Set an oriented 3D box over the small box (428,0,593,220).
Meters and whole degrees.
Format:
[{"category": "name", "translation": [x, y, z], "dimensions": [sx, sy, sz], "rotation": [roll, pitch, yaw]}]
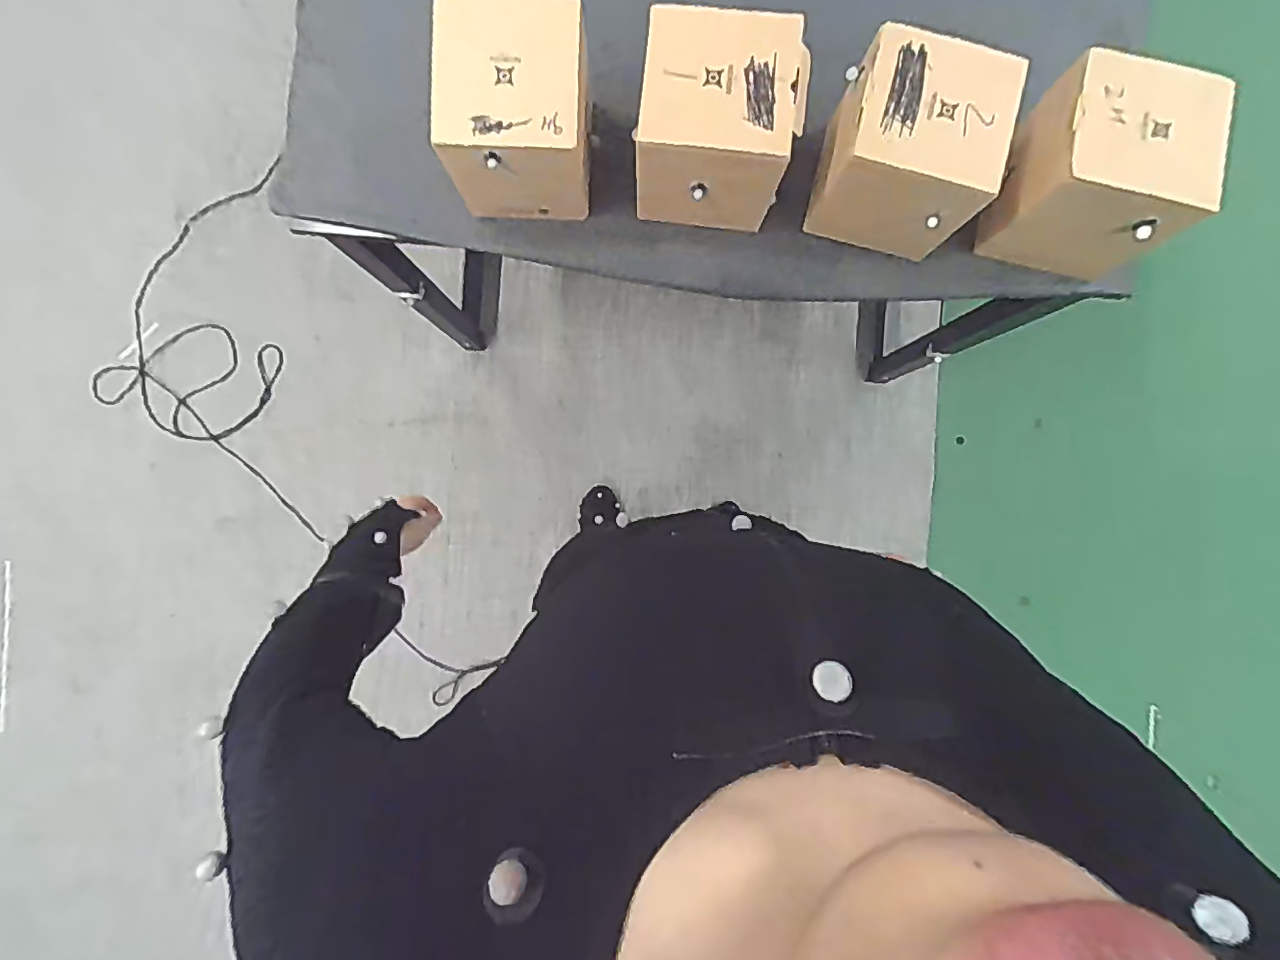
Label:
[{"category": "small box", "translation": [-0.150, -0.459, 0.682], "dimensions": [0.168, 0.176, 0.179], "rotation": [3, 89, 1]}]
